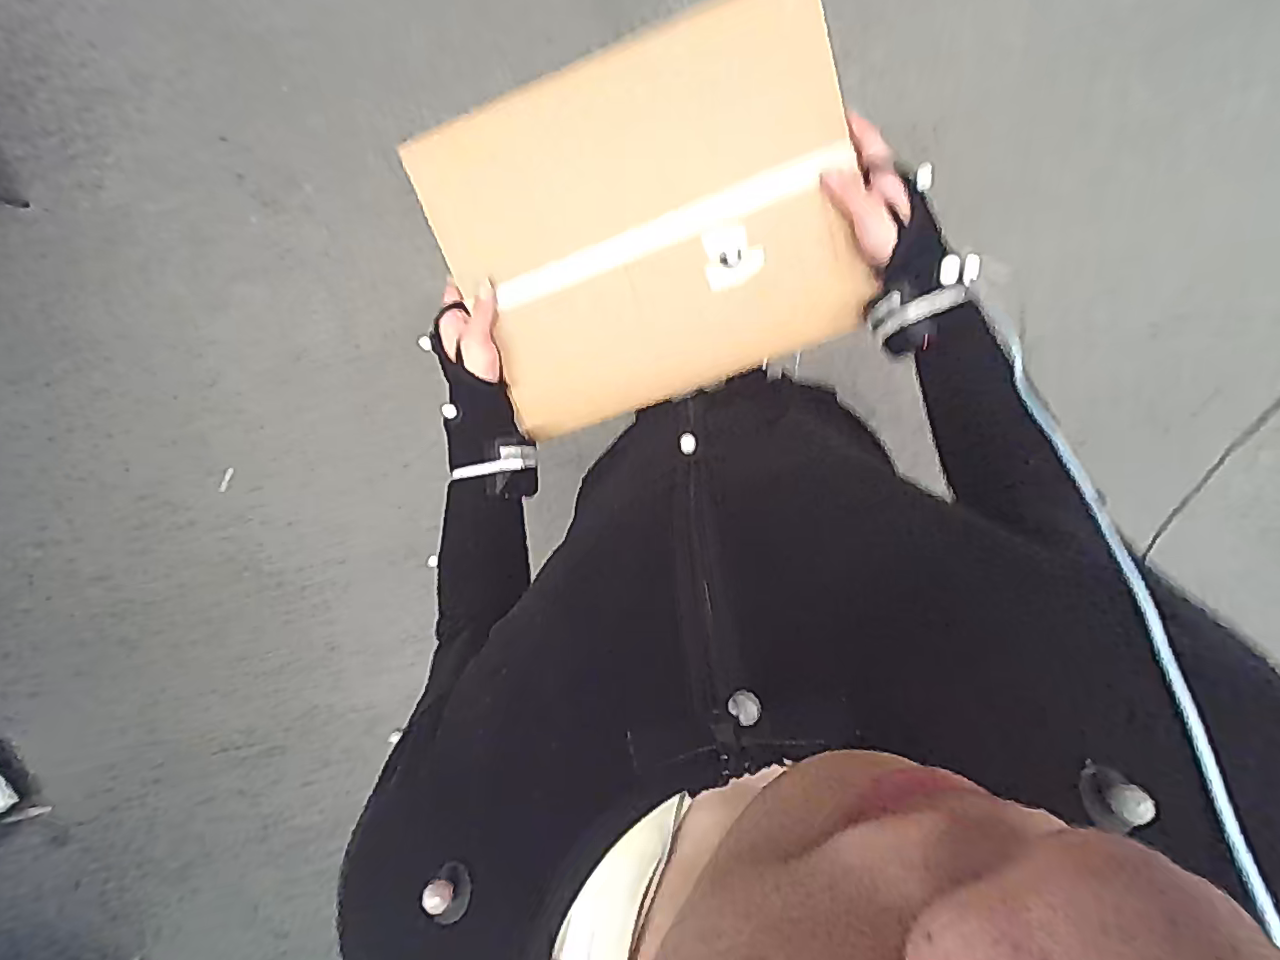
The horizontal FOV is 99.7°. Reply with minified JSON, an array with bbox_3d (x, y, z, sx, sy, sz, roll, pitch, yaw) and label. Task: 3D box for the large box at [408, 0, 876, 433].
[{"bbox_3d":[0.009,-0.299,0.684,0.408,0.320,0.320,-20,108,7],"label":"large box"}]
